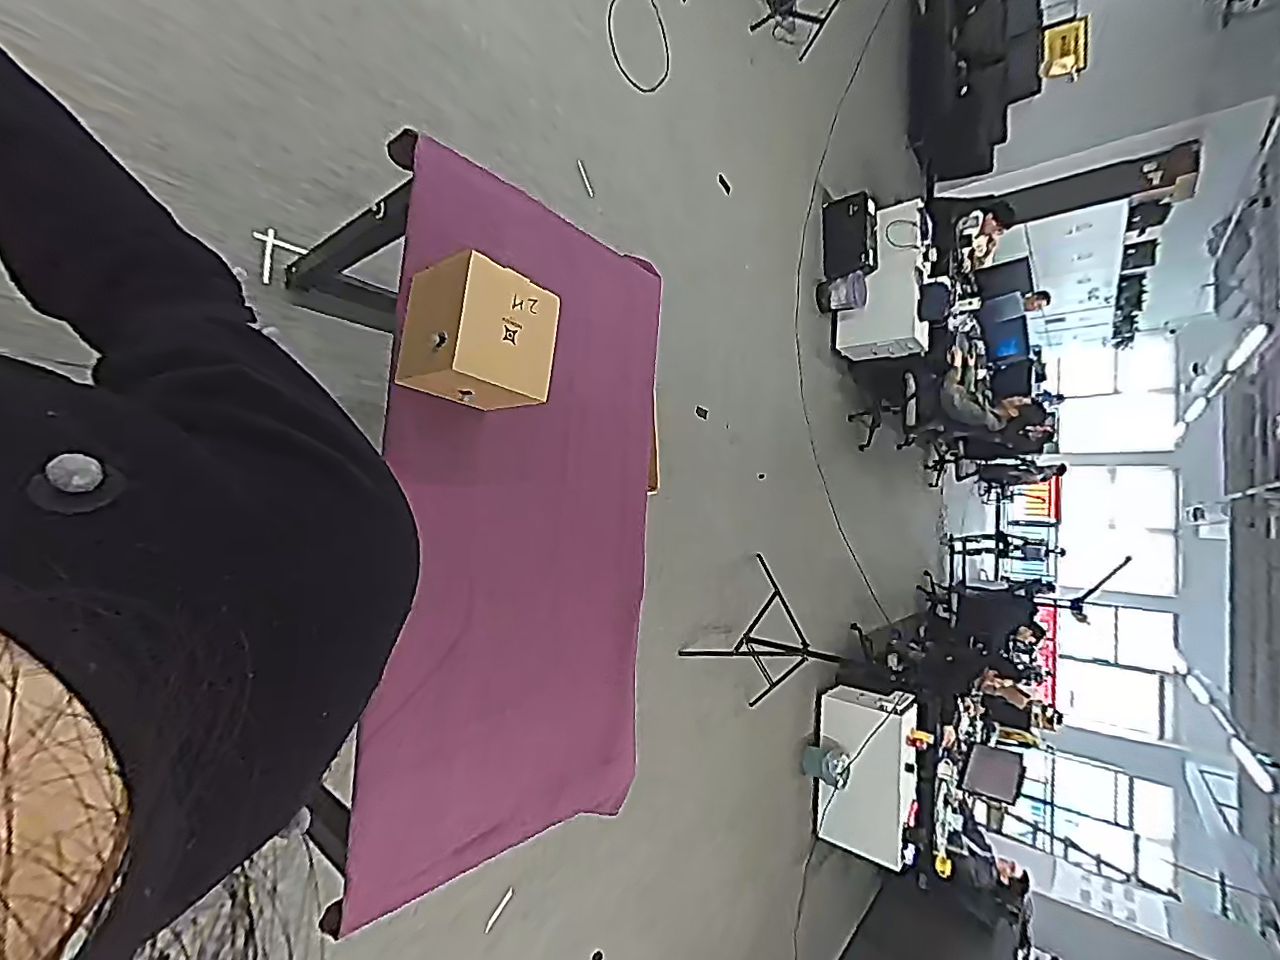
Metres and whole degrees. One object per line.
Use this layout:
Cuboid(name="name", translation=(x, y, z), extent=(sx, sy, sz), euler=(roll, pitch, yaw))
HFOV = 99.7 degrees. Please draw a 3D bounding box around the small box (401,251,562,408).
Cuboid(name="small box", translation=(-0.248, -0.218, 0.842), extent=(0.168, 0.176, 0.179), euler=(15, 79, -50))
